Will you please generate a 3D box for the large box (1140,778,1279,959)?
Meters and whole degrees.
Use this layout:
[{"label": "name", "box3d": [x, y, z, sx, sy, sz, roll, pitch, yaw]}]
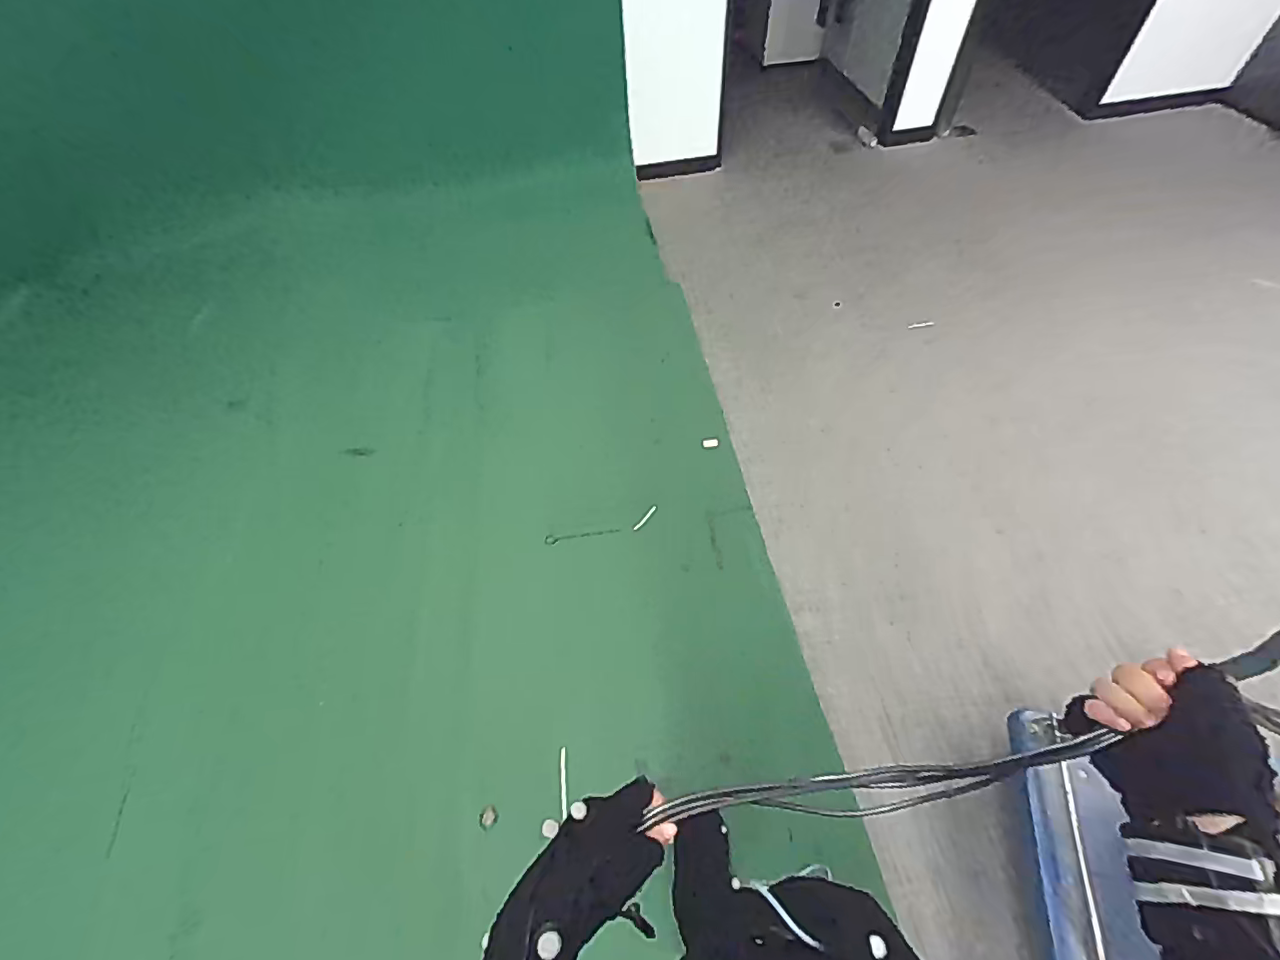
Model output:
[{"label": "large box", "box3d": [1.138, 0.688, 0.826, 0.320, 0.320, 0.408, -9, 54, -3]}]
